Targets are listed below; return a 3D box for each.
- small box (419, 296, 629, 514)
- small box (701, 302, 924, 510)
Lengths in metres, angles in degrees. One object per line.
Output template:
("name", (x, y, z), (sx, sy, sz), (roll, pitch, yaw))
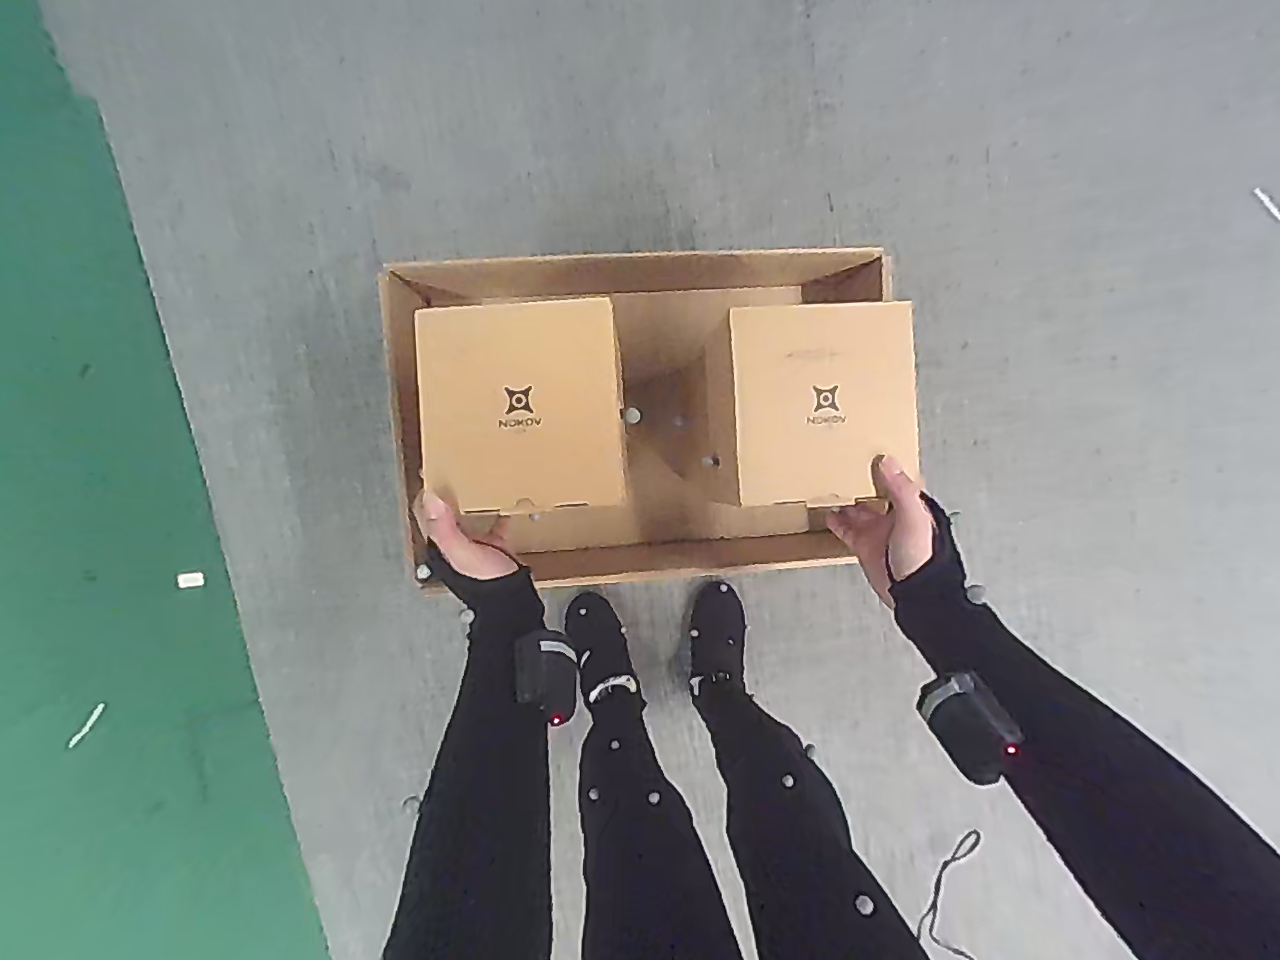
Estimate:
("small box", (-0.098, -0.059, 0.520), (0.168, 0.176, 0.179), (-3, 89, -1))
("small box", (0.157, -0.065, 0.540), (0.168, 0.176, 0.179), (-2, 89, -4))
